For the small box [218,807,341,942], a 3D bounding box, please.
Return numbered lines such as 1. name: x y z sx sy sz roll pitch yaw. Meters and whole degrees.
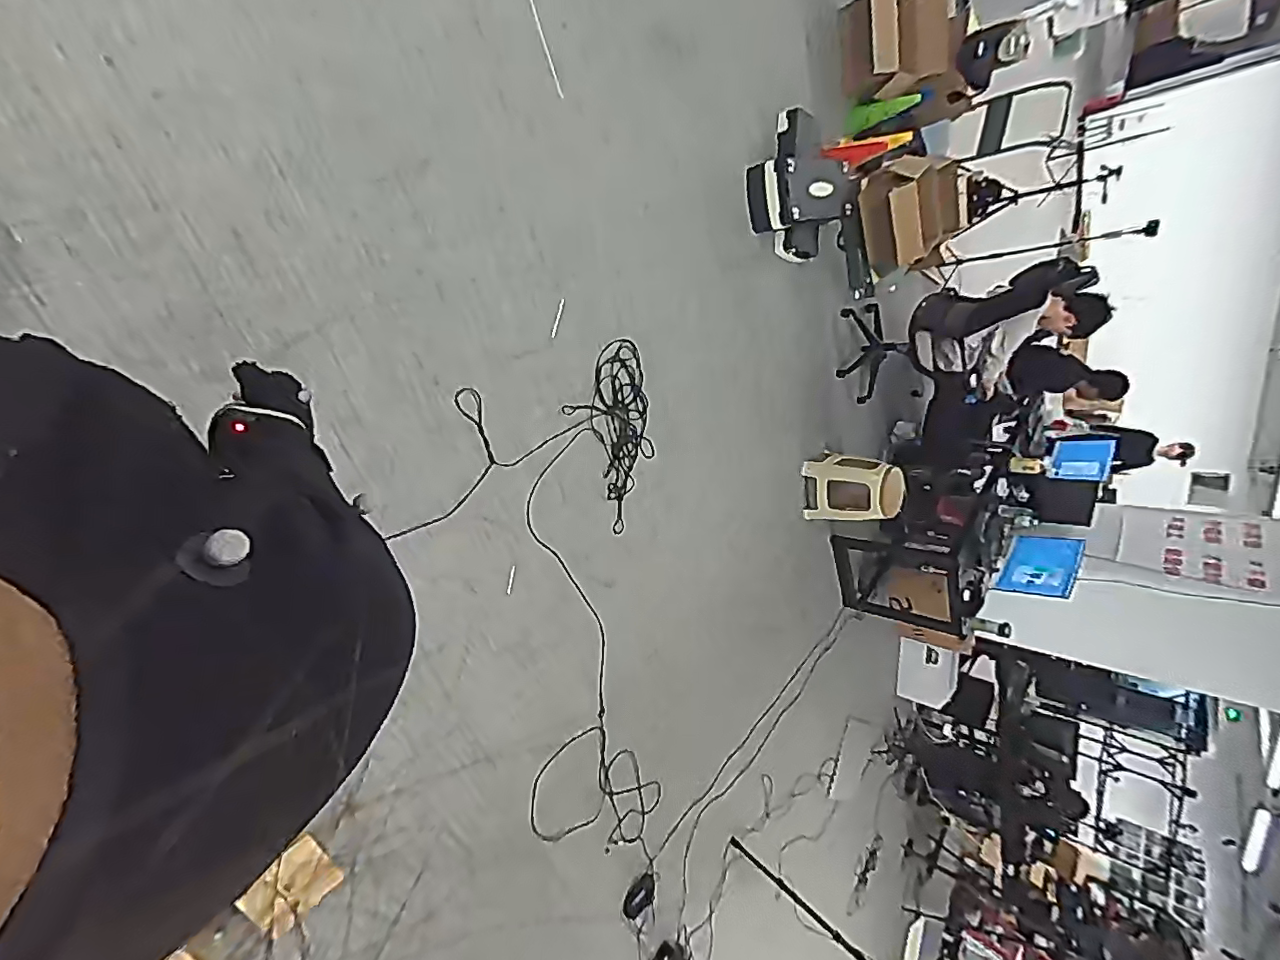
1. small box: -0.858 0.921 1.284 0.168 0.176 0.179 -37 120 -37
